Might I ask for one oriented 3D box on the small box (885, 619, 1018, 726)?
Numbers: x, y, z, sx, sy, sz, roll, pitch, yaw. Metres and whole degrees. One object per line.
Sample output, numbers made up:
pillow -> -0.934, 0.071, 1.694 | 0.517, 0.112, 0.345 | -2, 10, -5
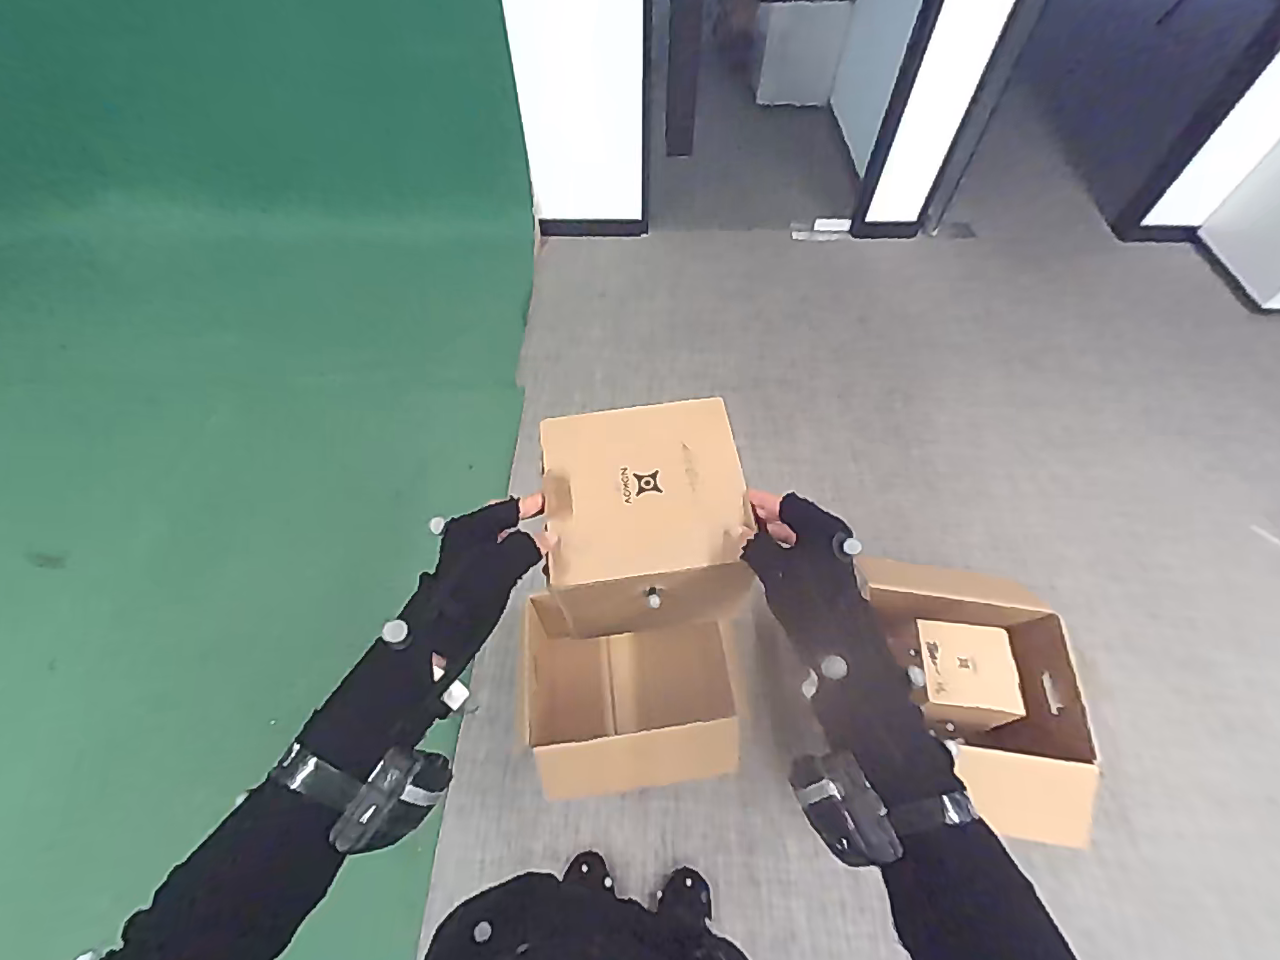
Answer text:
small box -> 0.641, 0.409, 1.136 | 0.179, 0.176, 0.168 | 5, 55, 5
